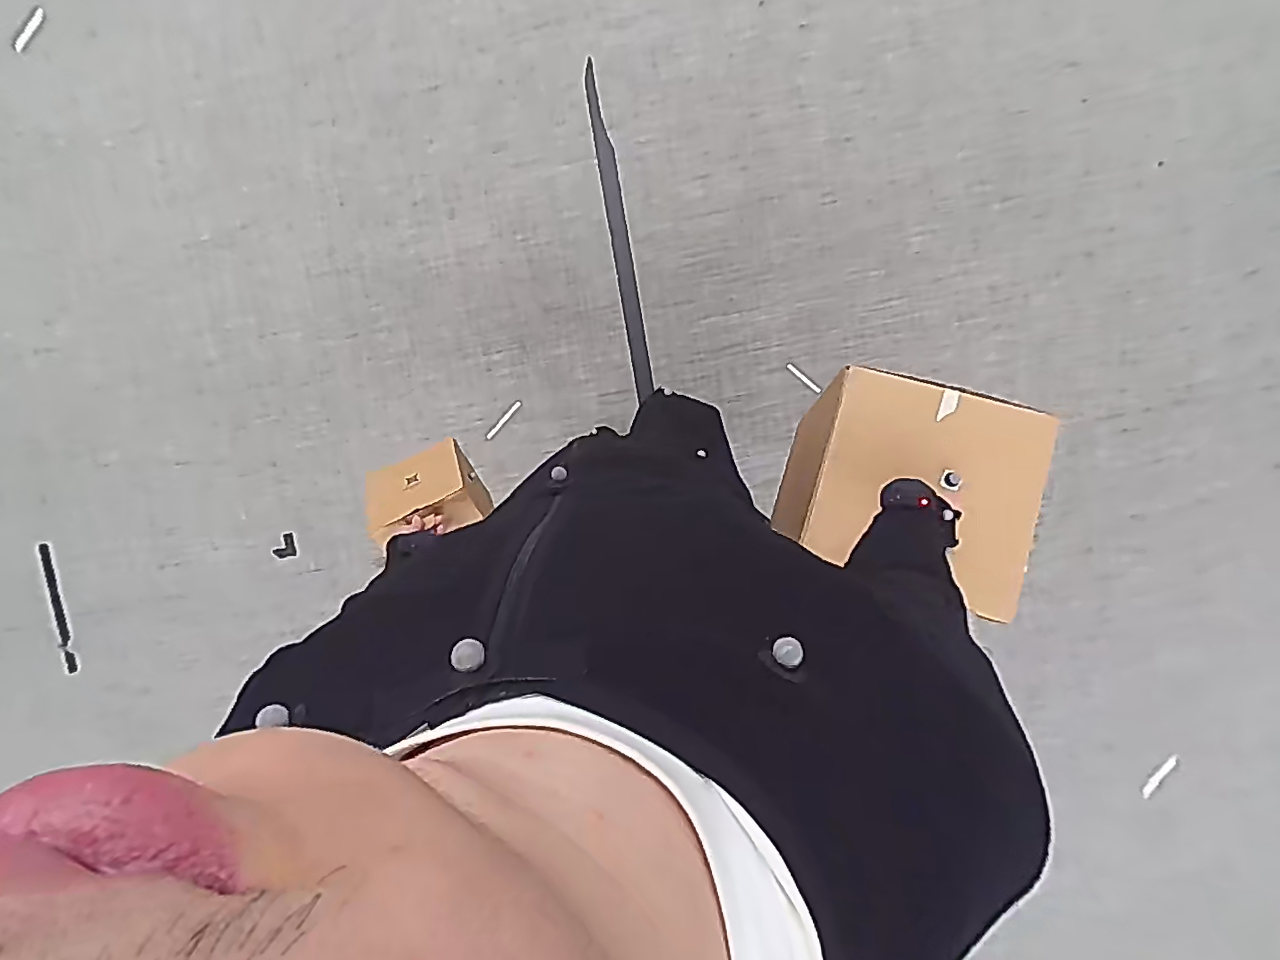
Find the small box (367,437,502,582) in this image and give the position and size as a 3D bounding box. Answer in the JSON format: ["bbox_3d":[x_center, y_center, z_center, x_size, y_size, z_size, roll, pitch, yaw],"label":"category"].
[{"bbox_3d":[-0.367,0.060,0.978,0.168,0.179,0.176,-26,132,-8],"label":"small box"}]
